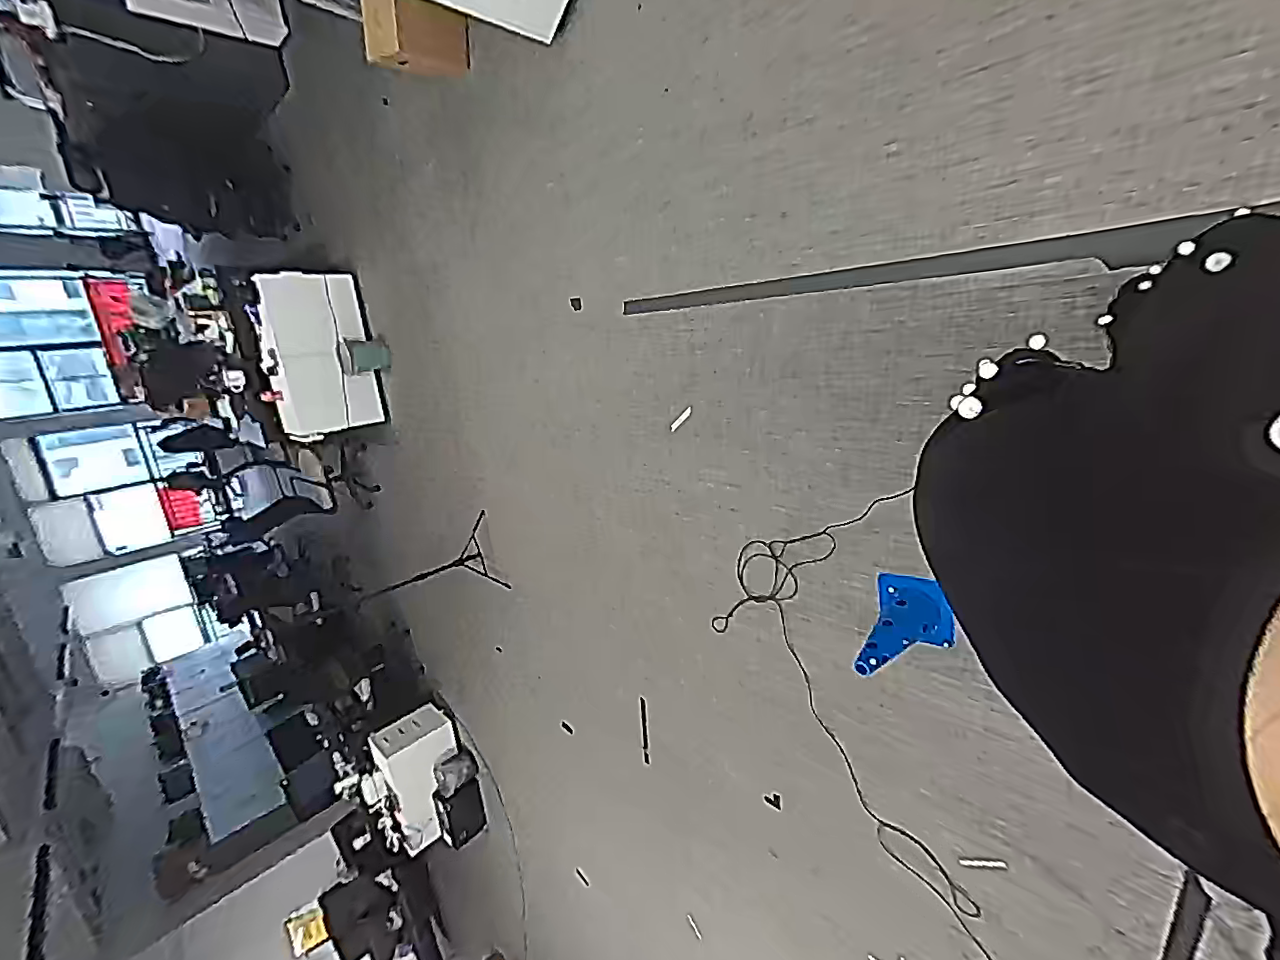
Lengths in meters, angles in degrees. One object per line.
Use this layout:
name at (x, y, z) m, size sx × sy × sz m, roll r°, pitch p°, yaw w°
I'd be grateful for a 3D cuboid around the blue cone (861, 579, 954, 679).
blue cone at (0.672, 0.418, 1.430) m, size 0.192 × 0.380 × 0.193 m, roll 4°, pitch 108°, yaw 45°
